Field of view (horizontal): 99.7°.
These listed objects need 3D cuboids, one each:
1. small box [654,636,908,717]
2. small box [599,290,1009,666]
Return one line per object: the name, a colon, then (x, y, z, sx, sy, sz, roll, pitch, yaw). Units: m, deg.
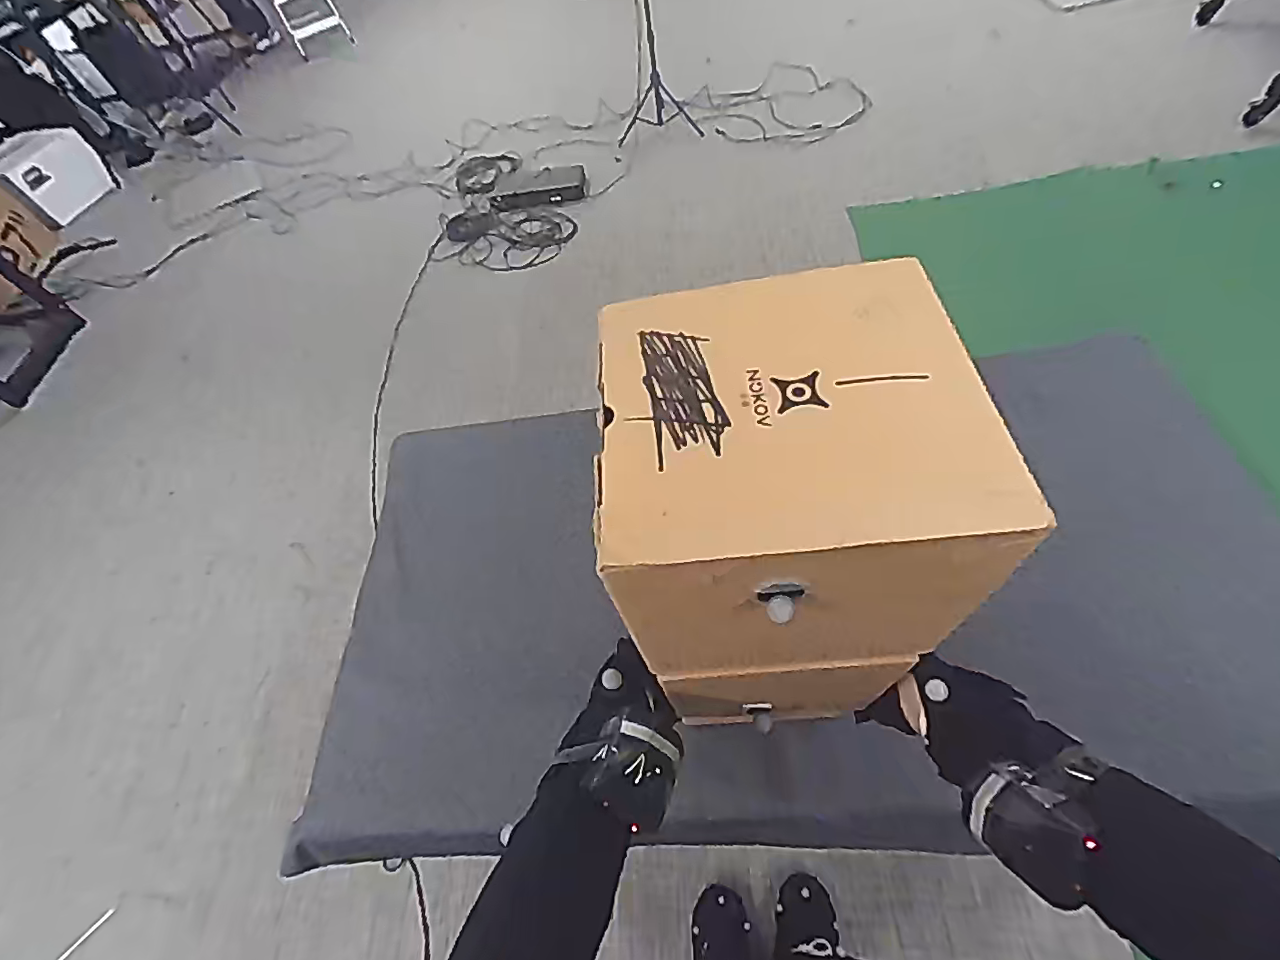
small box: (0.099, 0.091, 0.462, 0.168, 0.176, 0.179, -6, 57, 6)
small box: (0.078, 0.012, 0.340, 0.179, 0.176, 0.168, -7, 57, 6)
